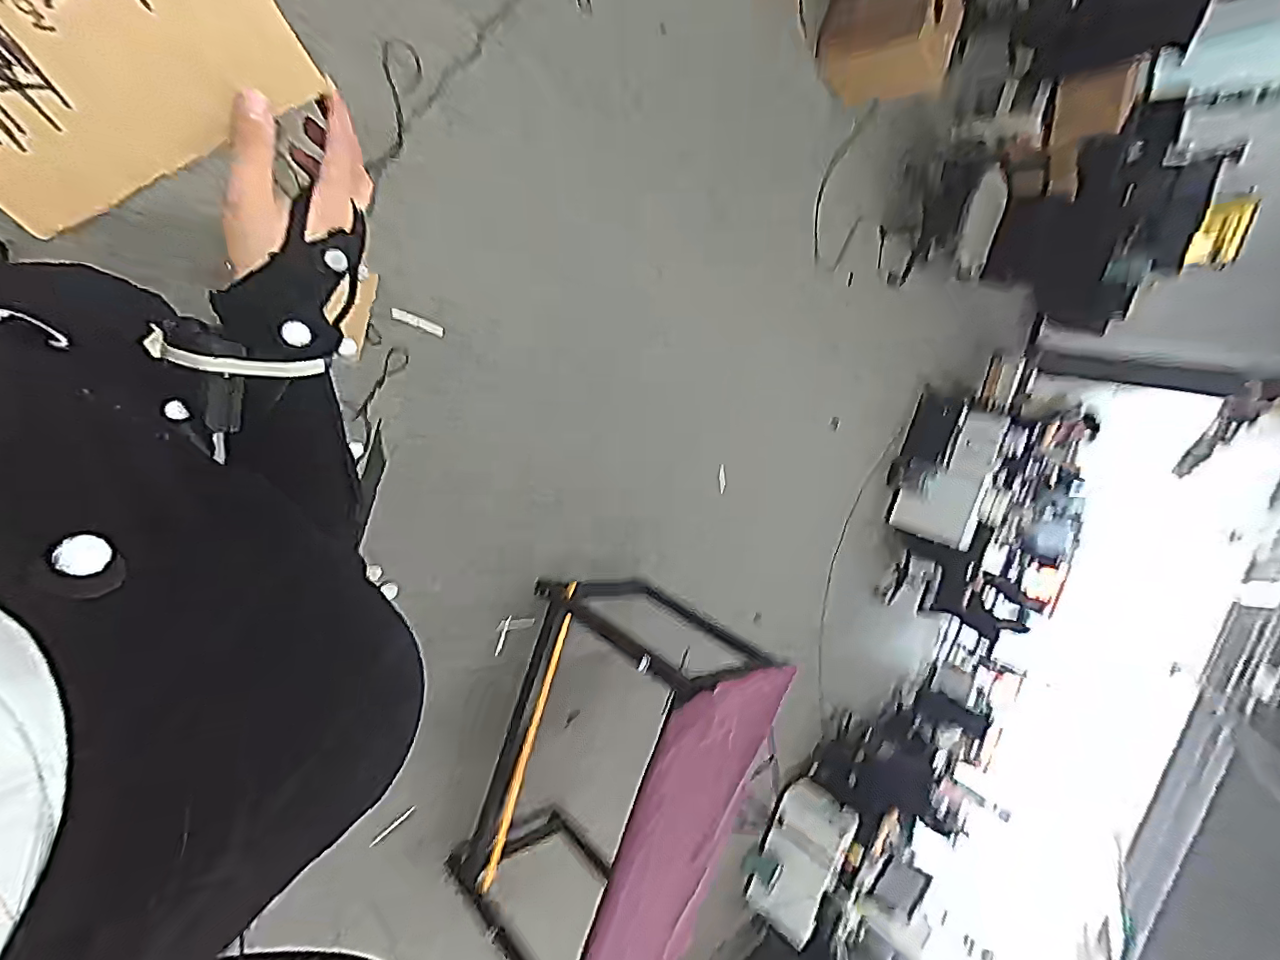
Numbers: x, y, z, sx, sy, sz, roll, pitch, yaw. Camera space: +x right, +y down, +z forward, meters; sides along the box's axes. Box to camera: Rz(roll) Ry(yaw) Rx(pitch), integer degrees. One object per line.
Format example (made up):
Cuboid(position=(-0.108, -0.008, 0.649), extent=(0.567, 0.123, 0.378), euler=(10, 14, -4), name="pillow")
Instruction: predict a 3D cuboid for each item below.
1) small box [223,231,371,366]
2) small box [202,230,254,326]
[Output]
Cuboid(position=(-0.614, -0.322, 0.963), extent=(0.168, 0.176, 0.179), euler=(11, 99, -49), name="small box")
Cuboid(position=(-0.733, -0.372, 1.066), extent=(0.168, 0.176, 0.179), euler=(14, 98, -50), name="small box")
